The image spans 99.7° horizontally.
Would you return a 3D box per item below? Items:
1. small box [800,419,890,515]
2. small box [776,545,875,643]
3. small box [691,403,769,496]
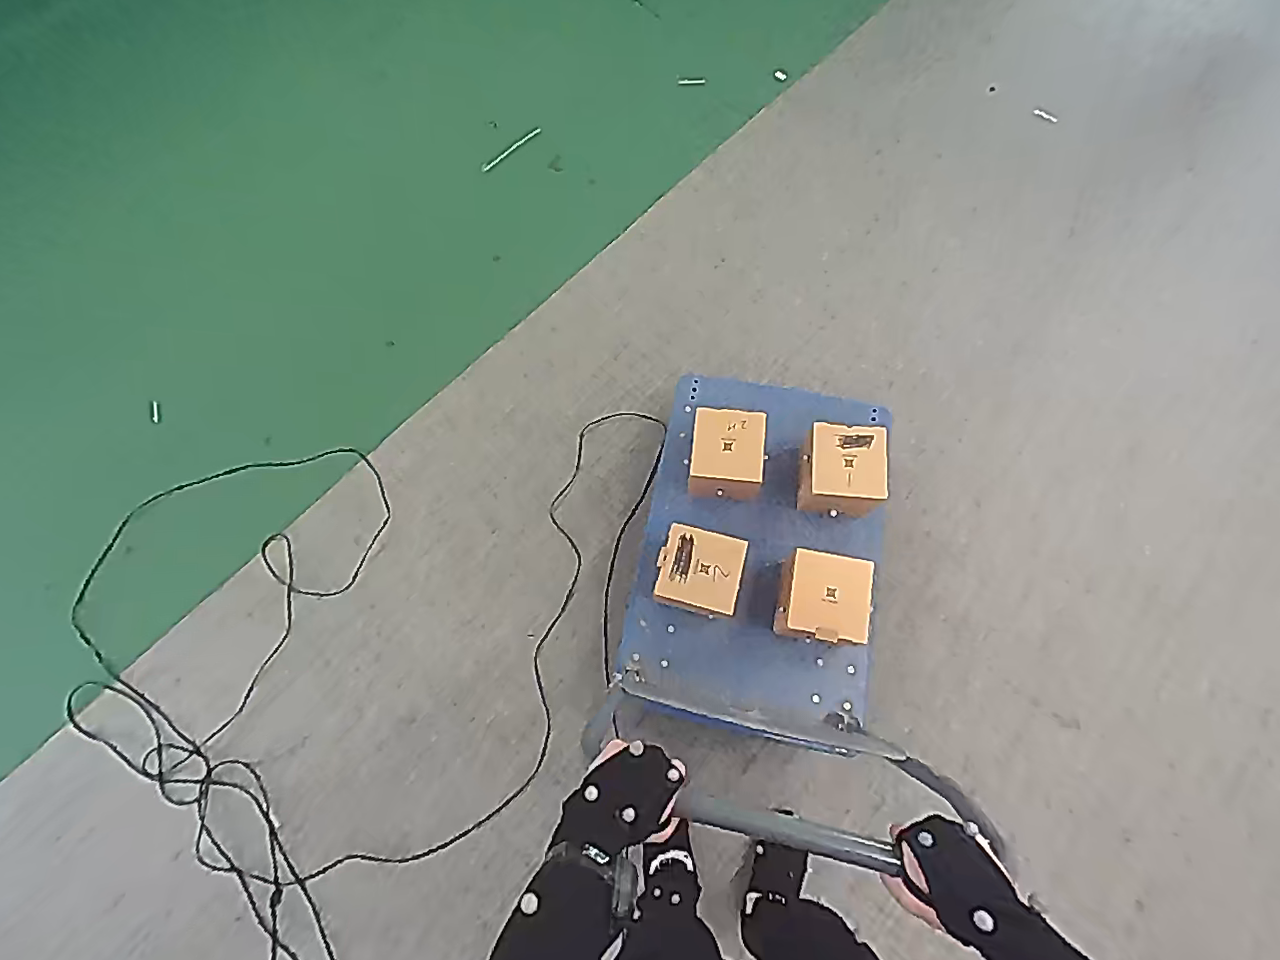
[{"bbox_3d":[0.485,-0.027,1.298,0.168,0.176,0.179,6,73,6],"label":"small box"},{"bbox_3d":[0.409,0.259,1.213,0.168,0.176,0.179,11,74,7],"label":"small box"},{"bbox_3d":[0.216,-0.068,1.328,0.168,0.176,0.179,7,73,5],"label":"small box"}]
